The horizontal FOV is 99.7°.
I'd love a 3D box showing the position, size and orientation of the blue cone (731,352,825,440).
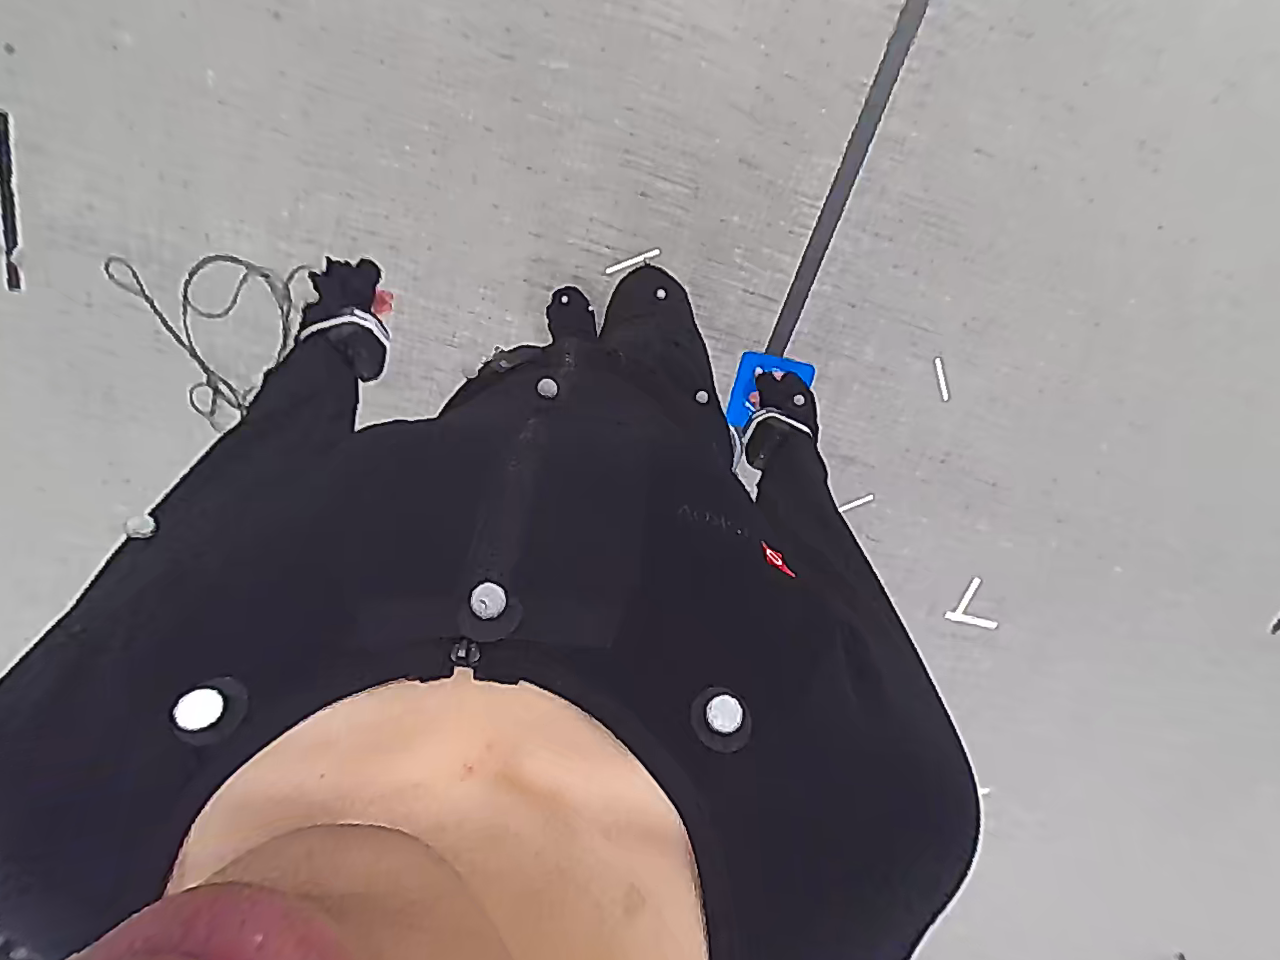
[{"bbox_3d":[0.348,-0.170,1.275,0.192,0.380,0.193,12,112,-6],"label":"blue cone"}]
